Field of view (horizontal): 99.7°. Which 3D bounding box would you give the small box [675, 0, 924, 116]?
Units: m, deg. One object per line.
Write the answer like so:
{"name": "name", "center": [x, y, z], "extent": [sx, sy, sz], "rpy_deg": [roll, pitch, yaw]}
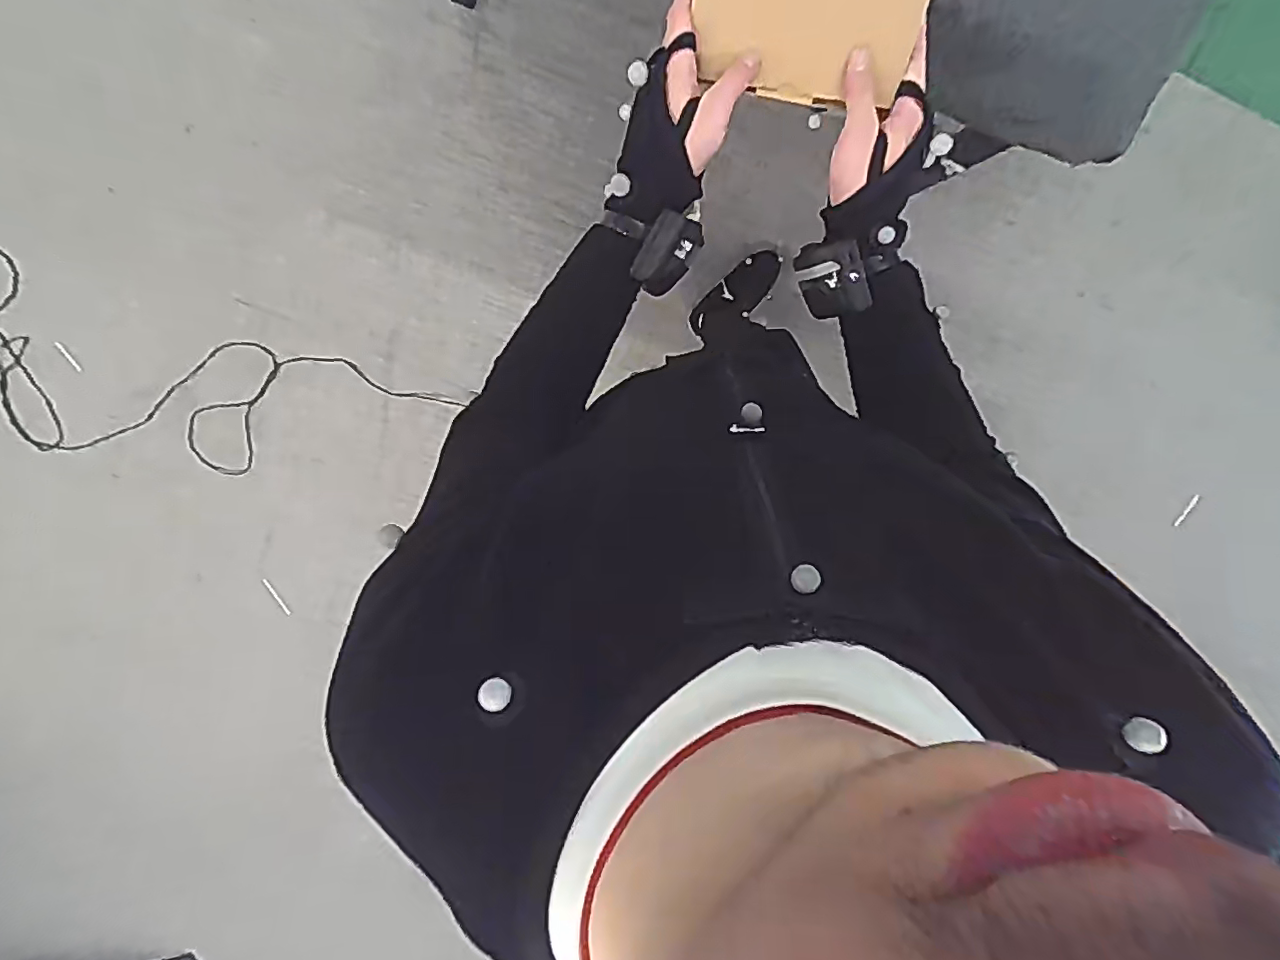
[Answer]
{"name": "small box", "center": [0.129, -0.402, 0.426], "extent": [0.168, 0.176, 0.179], "rpy_deg": [11, 123, 2]}
